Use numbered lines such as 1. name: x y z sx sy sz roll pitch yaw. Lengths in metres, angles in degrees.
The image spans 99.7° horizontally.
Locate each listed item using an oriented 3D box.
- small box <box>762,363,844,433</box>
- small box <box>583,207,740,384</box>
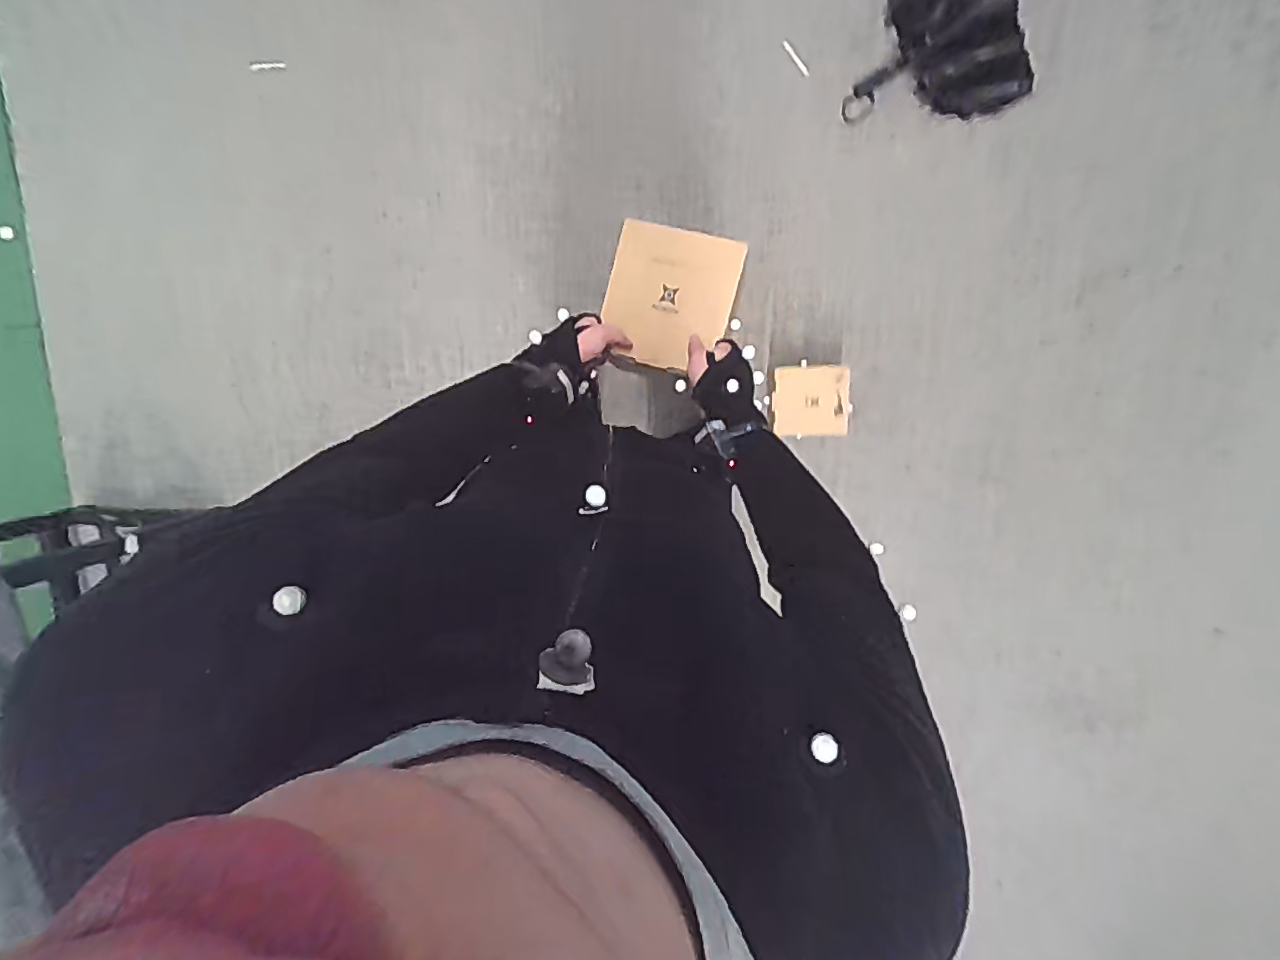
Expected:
1. small box: 0.403 -0.209 1.364 0.179 0.176 0.168 1 101 8
2. small box: 0.037 -0.242 0.754 0.168 0.176 0.179 15 94 7
